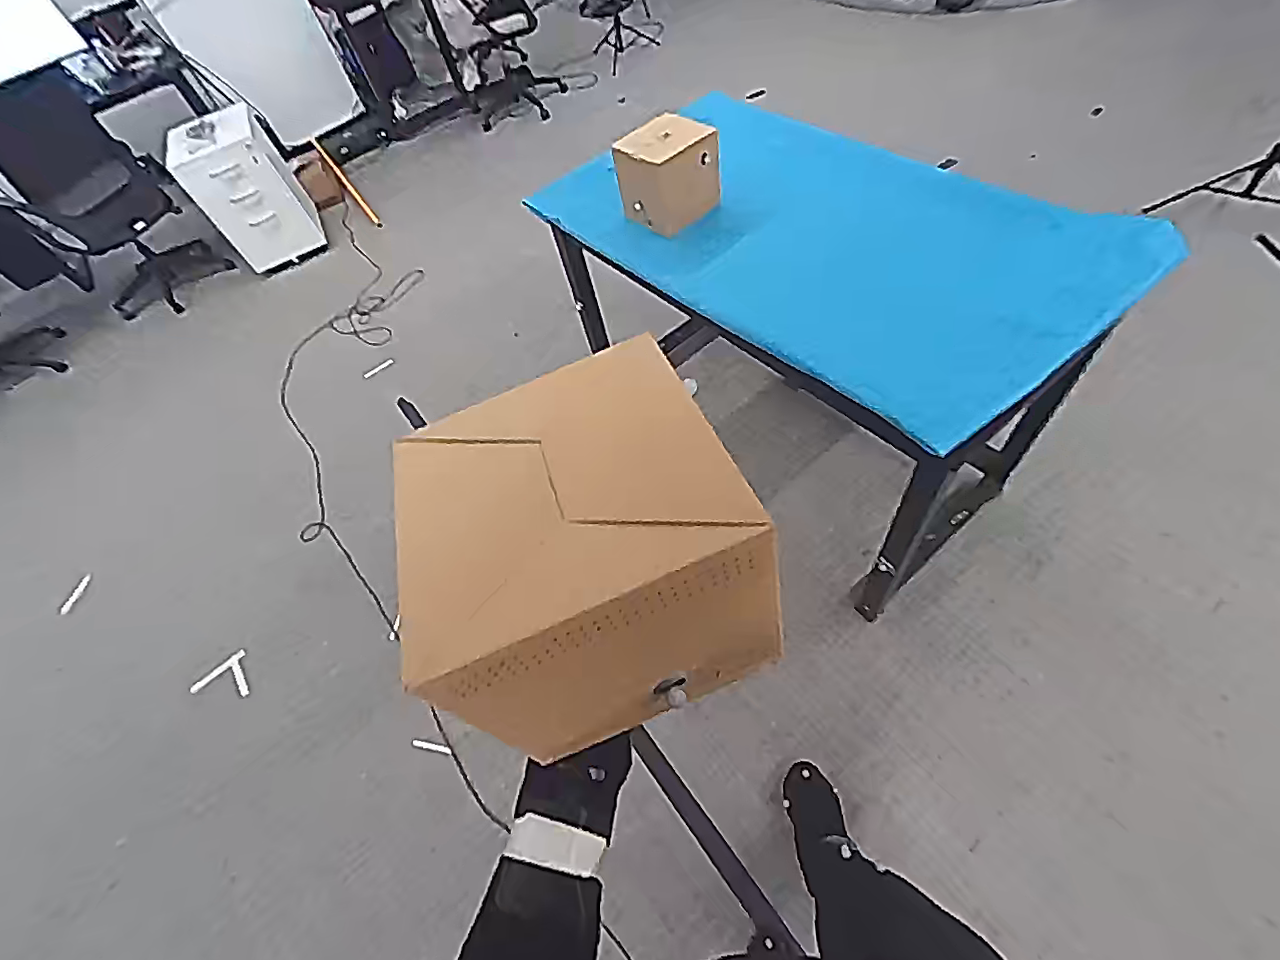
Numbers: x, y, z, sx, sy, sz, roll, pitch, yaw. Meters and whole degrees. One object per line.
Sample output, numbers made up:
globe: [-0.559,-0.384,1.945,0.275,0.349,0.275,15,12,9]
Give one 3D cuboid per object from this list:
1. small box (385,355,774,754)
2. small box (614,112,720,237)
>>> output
small box: [-0.033,0.046,0.349,0.179,0.176,0.168,-24,50,-2]
small box: [0.069,-0.699,1.245,0.179,0.176,0.168,-37,56,-10]
